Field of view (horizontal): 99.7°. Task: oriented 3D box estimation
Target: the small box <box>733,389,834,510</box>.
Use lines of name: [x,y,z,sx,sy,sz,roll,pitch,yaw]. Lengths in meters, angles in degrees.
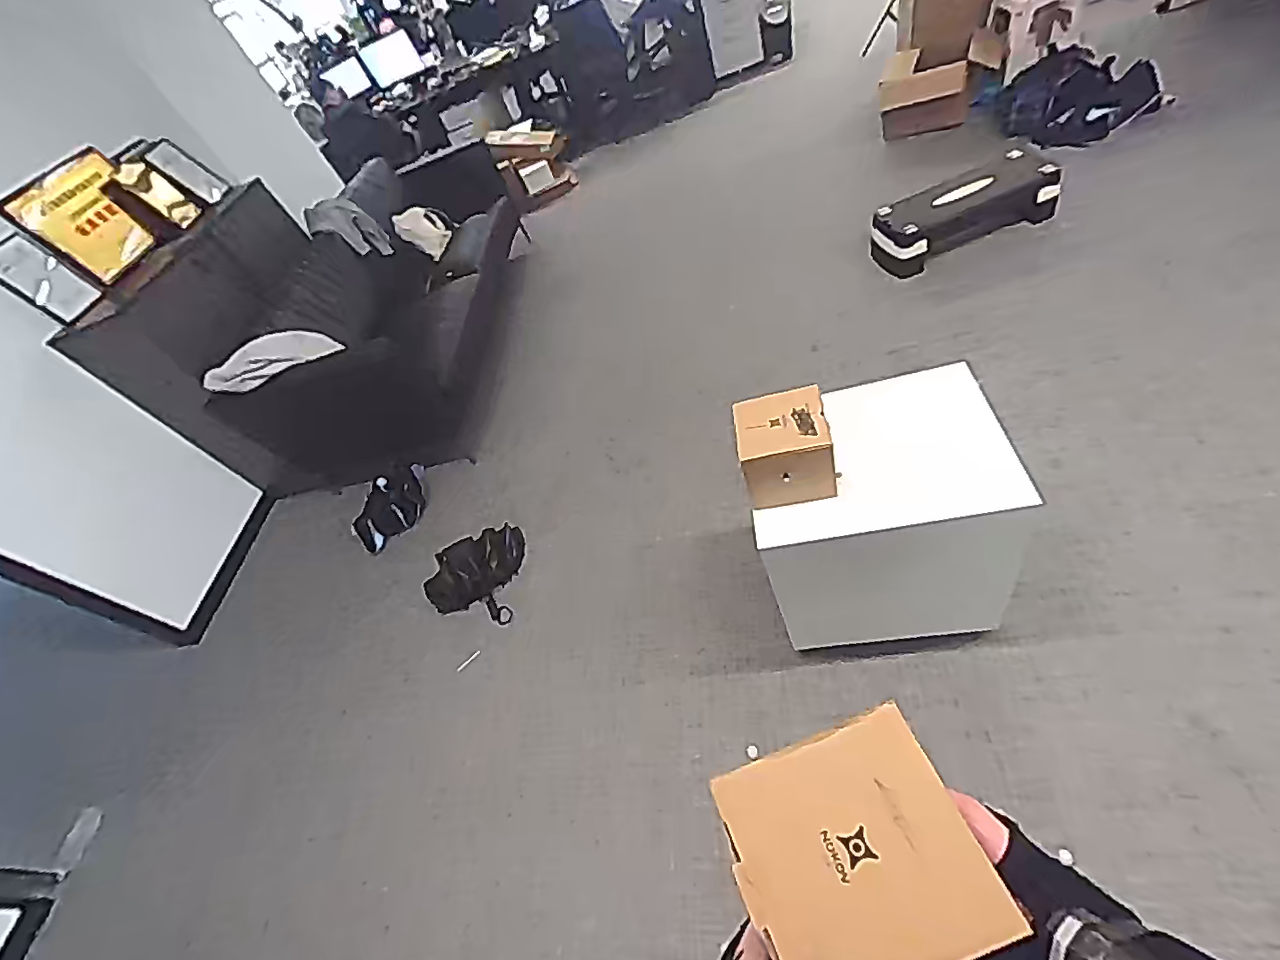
small box: [0.299,-0.058,1.122,0.179,0.176,0.168,-11,48,16]
